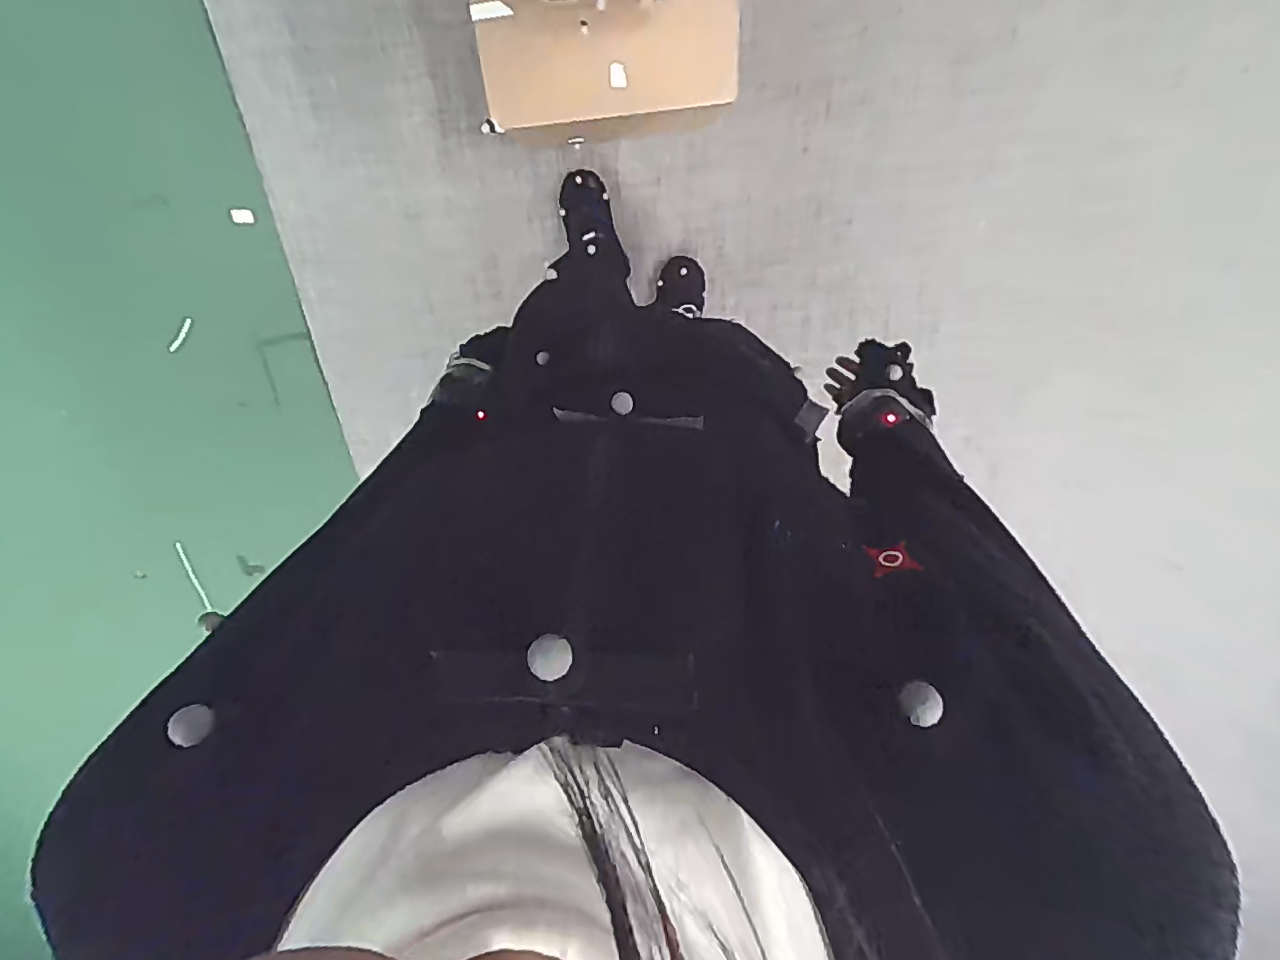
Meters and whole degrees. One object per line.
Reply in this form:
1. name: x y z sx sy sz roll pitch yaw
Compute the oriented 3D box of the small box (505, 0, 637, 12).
1. small box: -0.086 -0.632 0.581 0.168 0.176 0.179 -2 122 3
